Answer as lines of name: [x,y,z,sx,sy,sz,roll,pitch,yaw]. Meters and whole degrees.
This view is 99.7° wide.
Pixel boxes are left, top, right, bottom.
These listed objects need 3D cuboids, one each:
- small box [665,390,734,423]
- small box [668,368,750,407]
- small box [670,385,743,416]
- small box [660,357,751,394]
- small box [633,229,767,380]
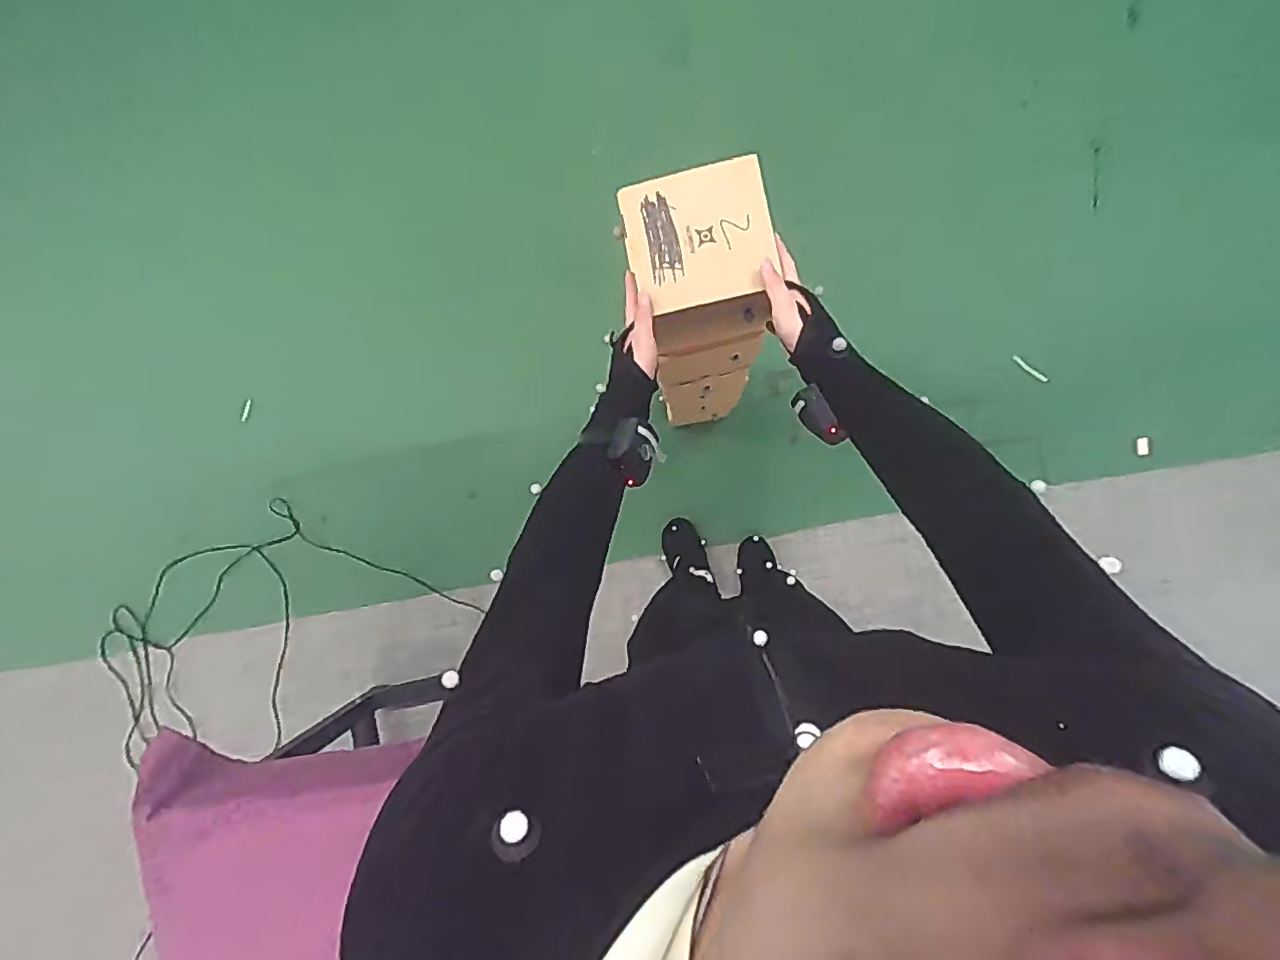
small box: [0.160,-0.262,1.535,0.179,0.176,0.168,-10,89,5]
small box: [0.134,-0.269,1.210,0.179,0.176,0.168,-15,89,4]
small box: [0.152,-0.267,1.372,0.179,0.176,0.168,-13,88,6]
small box: [0.111,-0.270,1.048,0.168,0.176,0.179,-13,89,6]
small box: [0.096,-0.275,0.884,0.179,0.176,0.168,-12,87,6]
